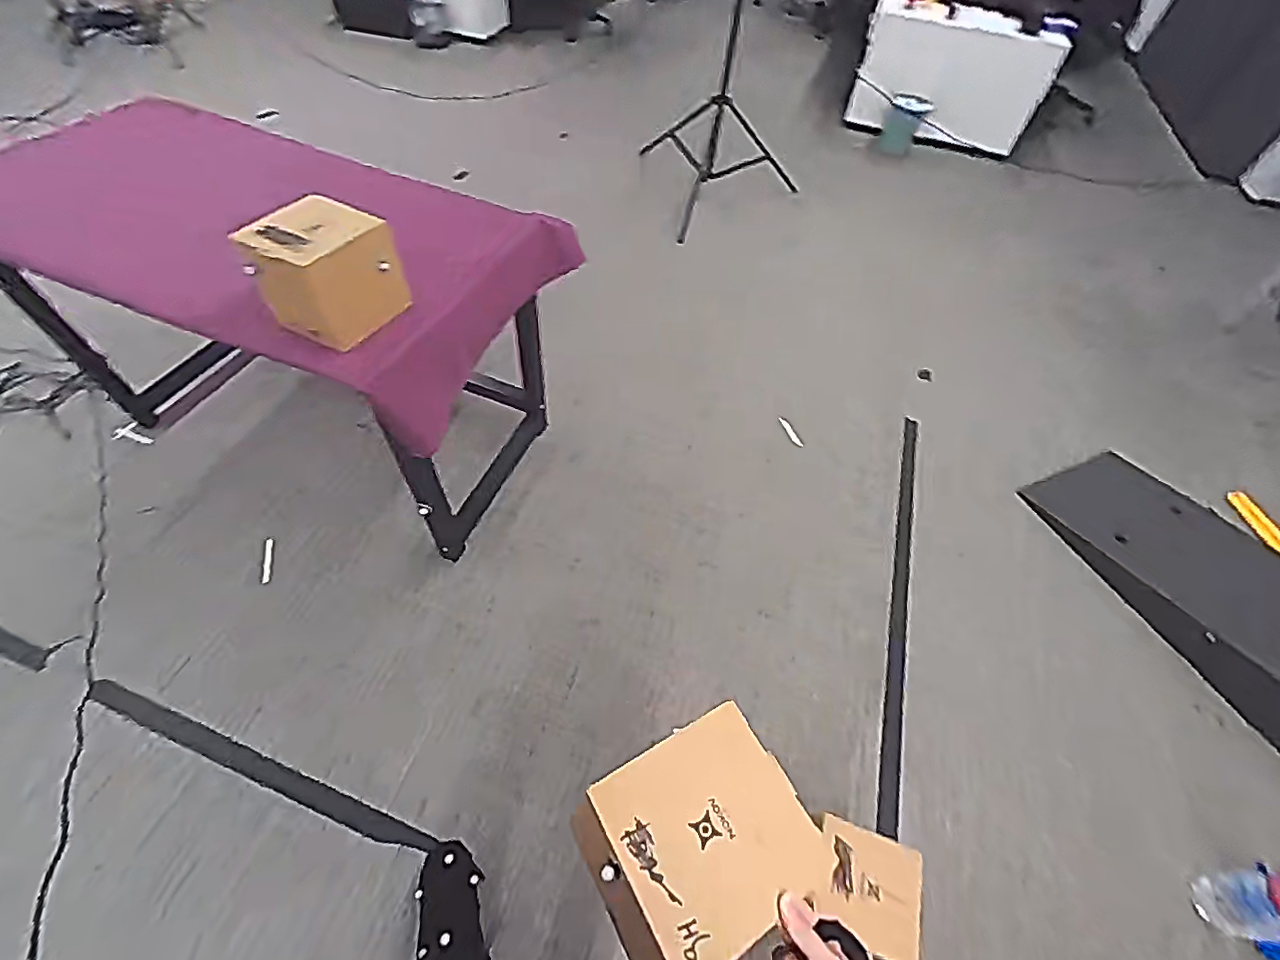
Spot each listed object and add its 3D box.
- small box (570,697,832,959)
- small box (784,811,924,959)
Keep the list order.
[{"bbox_3d":[0.047,0.356,0.545,0.179,0.176,0.168,-20,58,-28],"label":"small box"},{"bbox_3d":[0.373,0.719,0.959,0.179,0.176,0.168,20,55,7],"label":"small box"}]
